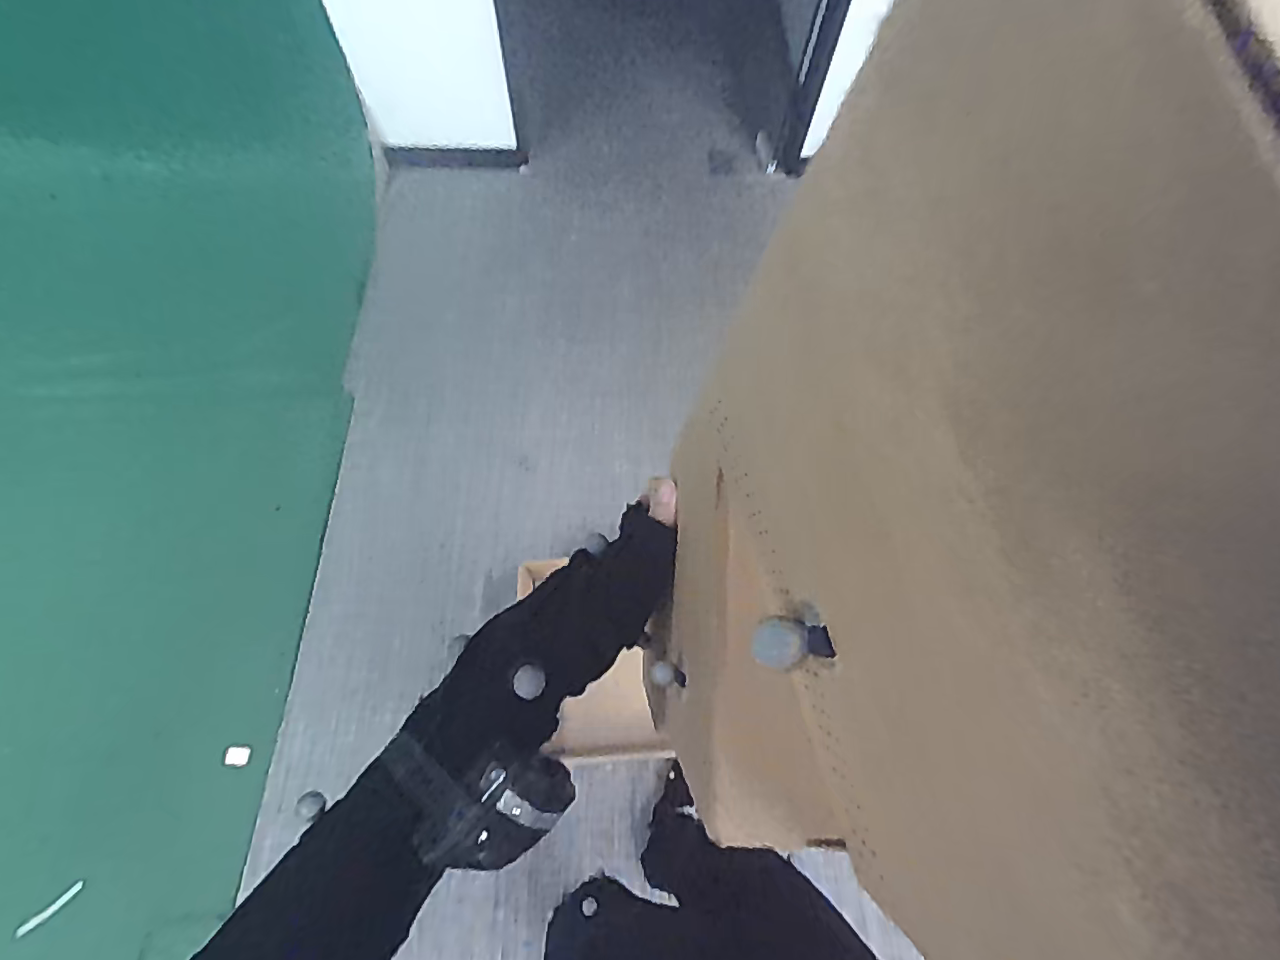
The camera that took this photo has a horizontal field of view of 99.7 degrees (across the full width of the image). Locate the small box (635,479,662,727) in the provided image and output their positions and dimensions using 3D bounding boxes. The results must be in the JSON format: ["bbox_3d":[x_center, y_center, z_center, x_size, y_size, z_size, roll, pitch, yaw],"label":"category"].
[{"bbox_3d":[0.086,0.095,0.443,0.179,0.176,0.168,0,79,-1],"label":"small box"}]

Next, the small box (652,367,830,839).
[{"bbox_3d":[0.096,0.057,0.286,0.168,0.176,0.179,2,78,-3],"label":"small box"}]
